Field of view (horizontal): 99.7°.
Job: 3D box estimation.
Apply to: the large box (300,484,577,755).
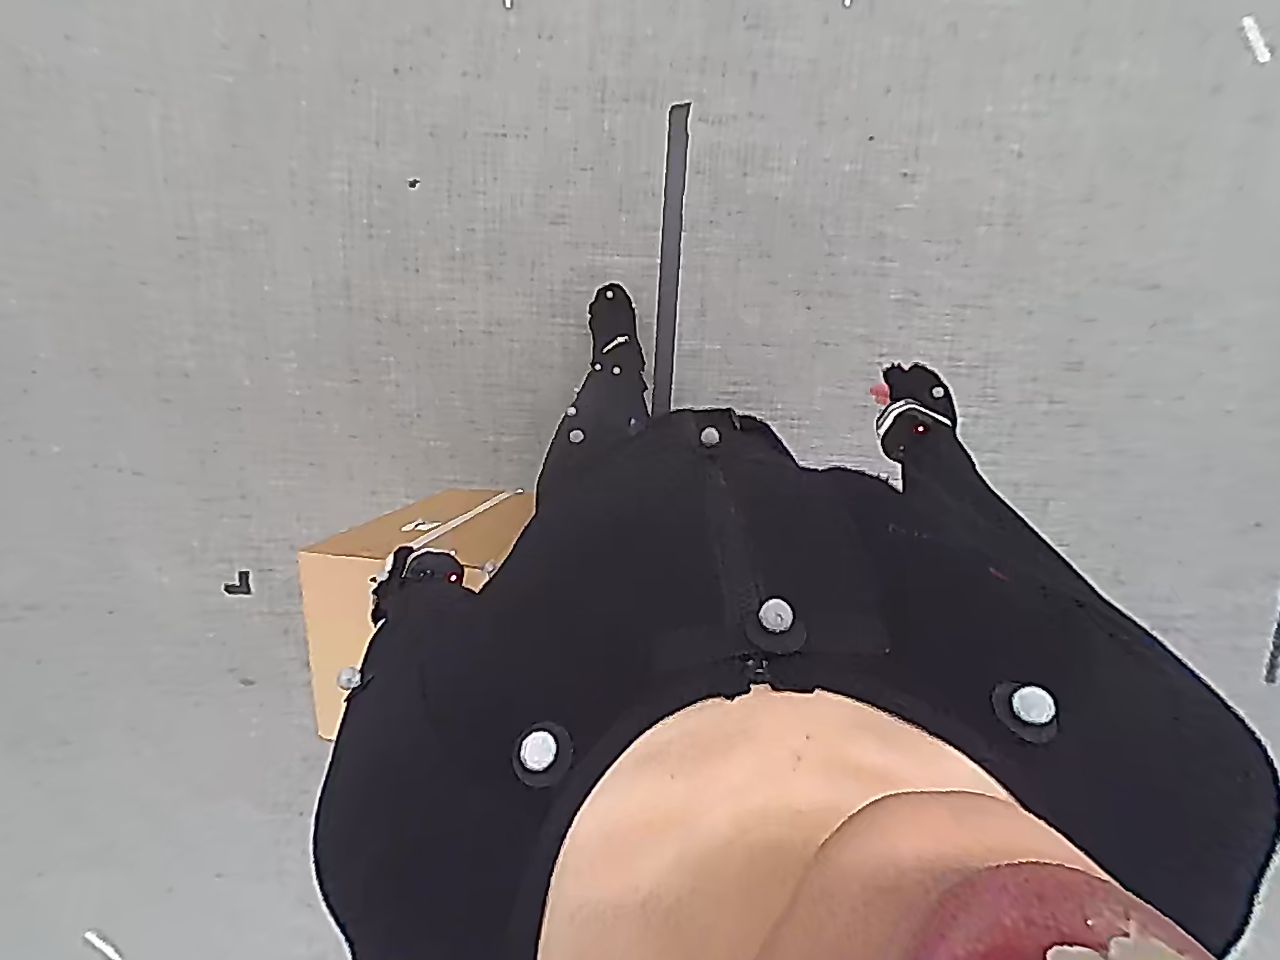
[{"bbox_3d":[-0.315,0.210,0.978,0.320,0.408,0.320,3,103,11],"label":"large box"}]
